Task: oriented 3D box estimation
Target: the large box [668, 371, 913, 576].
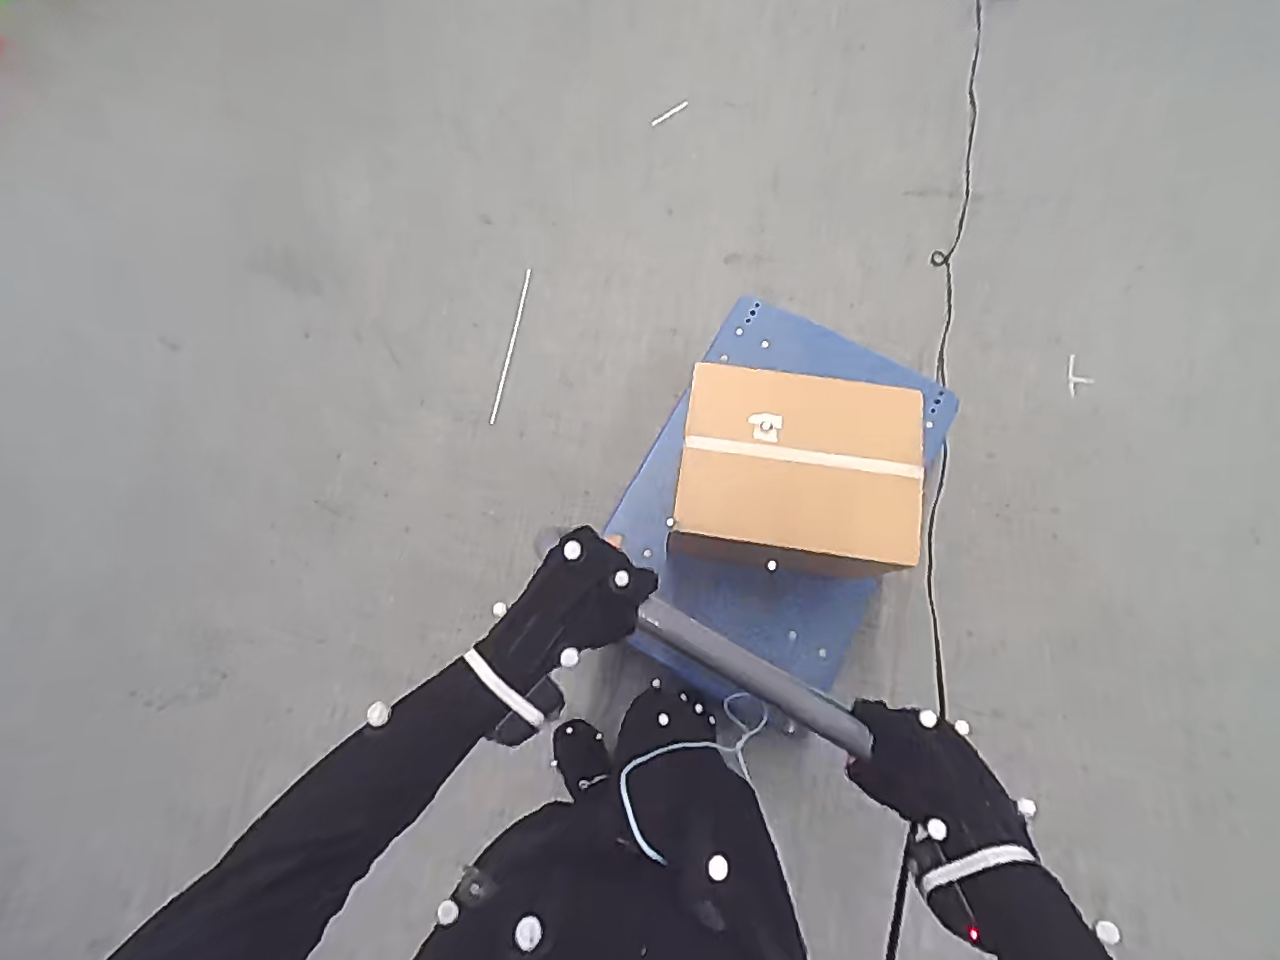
[{"bbox_3d":[0.276,0.006,1.081,0.408,0.320,0.320,8,75,4],"label":"large box"}]
